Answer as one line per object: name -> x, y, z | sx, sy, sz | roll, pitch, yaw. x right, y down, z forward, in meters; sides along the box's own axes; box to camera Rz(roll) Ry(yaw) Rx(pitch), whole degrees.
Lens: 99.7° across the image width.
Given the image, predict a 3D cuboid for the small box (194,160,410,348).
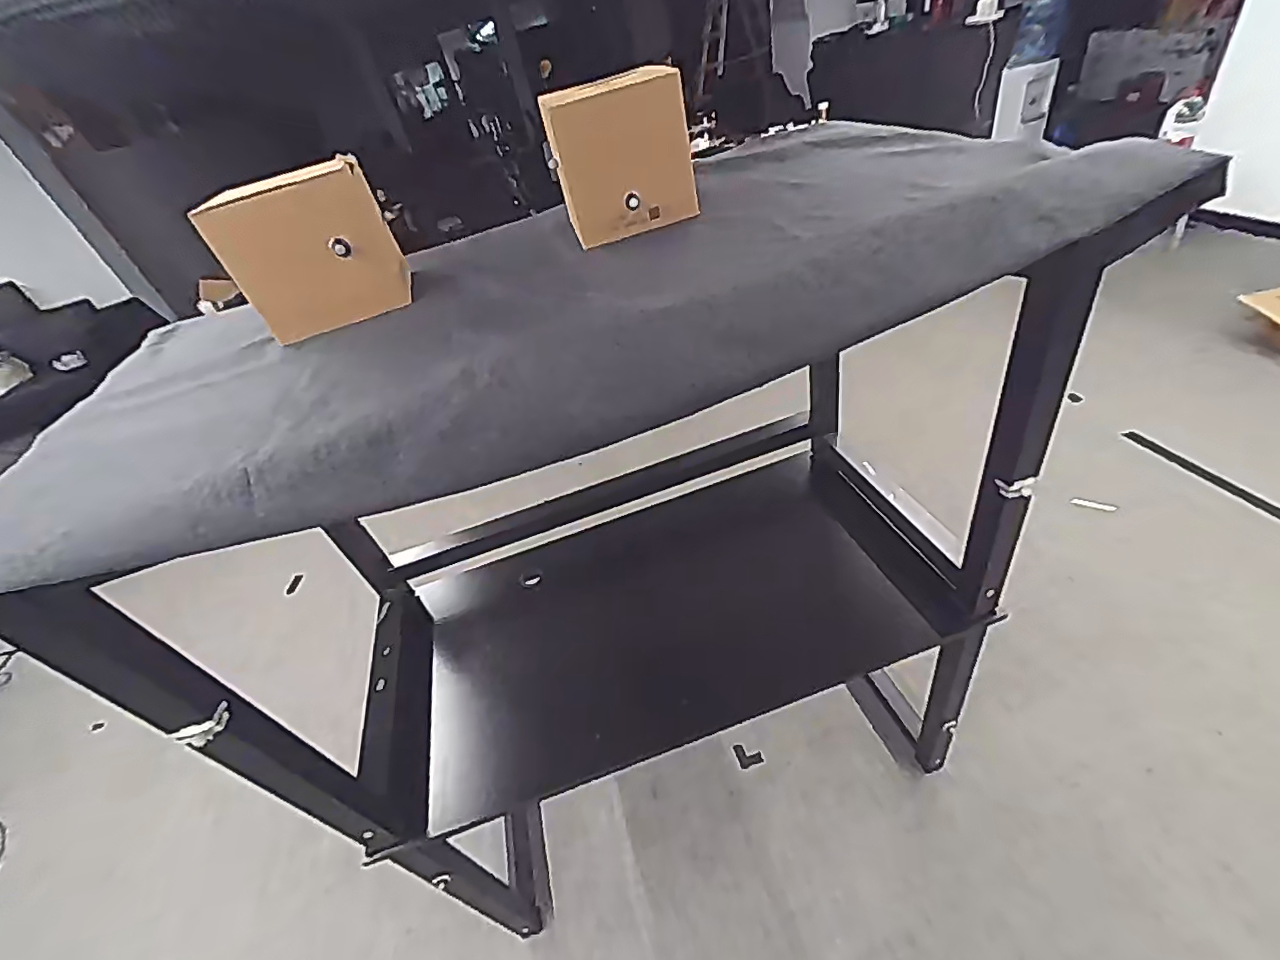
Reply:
small box -> -0.425, -0.302, 0.721 | 0.179, 0.176, 0.168 | -21, 39, -7
